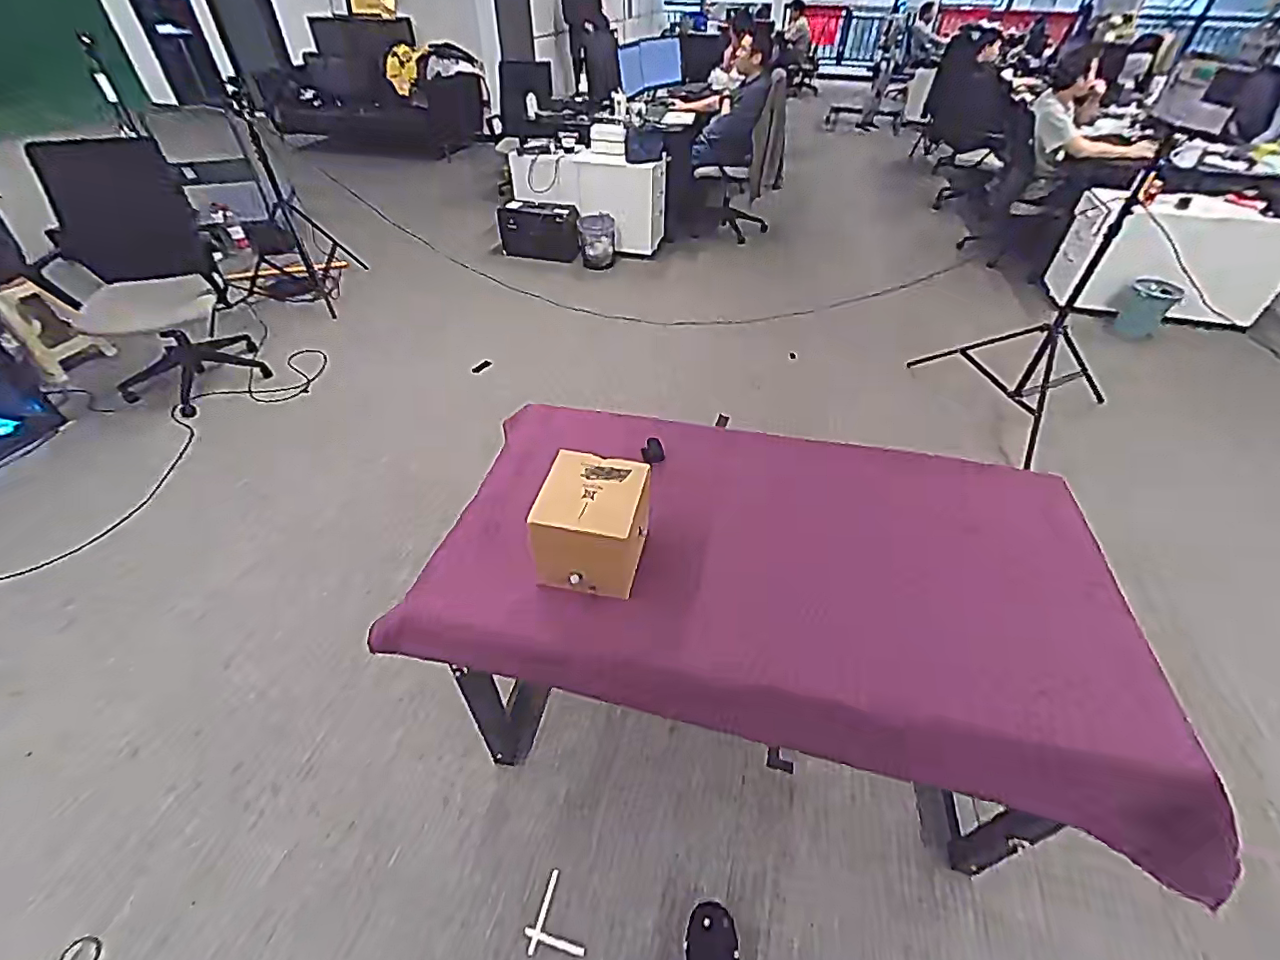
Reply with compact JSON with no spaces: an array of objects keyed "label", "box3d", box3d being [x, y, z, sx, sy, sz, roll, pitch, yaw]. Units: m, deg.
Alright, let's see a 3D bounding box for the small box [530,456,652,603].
[{"label":"small box","box3d":[-0.079,0.085,0.949,0.168,0.176,0.179,9,44,9]}]
